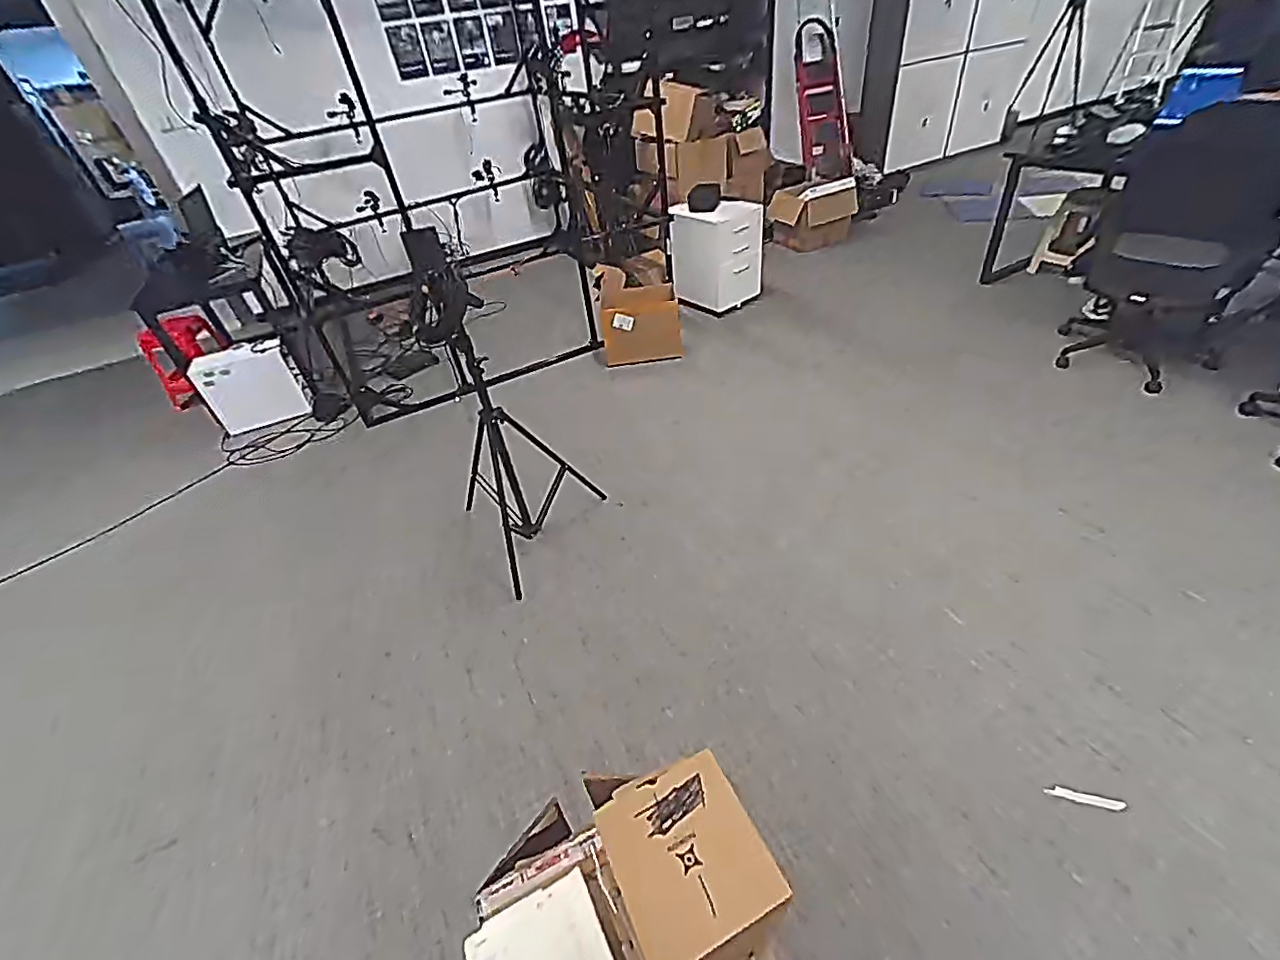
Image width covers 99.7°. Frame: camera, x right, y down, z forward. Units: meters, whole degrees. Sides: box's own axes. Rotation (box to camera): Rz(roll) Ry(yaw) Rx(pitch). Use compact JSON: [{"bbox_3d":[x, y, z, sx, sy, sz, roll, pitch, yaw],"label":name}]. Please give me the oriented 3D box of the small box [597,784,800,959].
[{"bbox_3d":[0.062,0.514,0.644,0.168,0.176,0.179,-21,43,-17],"label":"small box"}]
